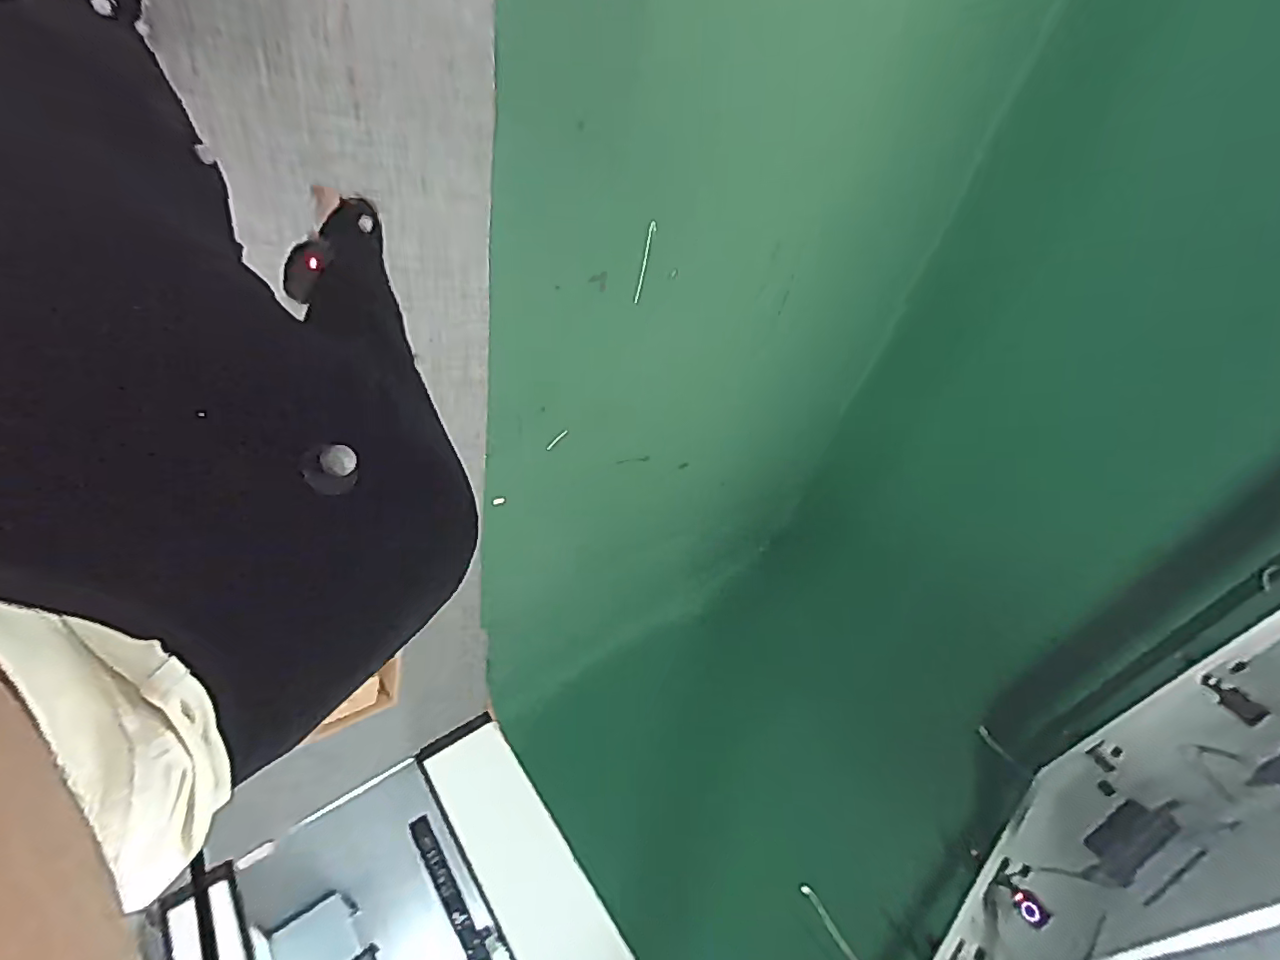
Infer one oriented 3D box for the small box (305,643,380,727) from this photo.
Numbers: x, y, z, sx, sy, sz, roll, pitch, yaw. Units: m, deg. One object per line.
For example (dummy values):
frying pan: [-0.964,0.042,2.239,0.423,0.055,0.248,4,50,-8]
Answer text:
small box: [-0.998,0.680,1.811,0.179,0.176,0.168,-12,135,-43]
